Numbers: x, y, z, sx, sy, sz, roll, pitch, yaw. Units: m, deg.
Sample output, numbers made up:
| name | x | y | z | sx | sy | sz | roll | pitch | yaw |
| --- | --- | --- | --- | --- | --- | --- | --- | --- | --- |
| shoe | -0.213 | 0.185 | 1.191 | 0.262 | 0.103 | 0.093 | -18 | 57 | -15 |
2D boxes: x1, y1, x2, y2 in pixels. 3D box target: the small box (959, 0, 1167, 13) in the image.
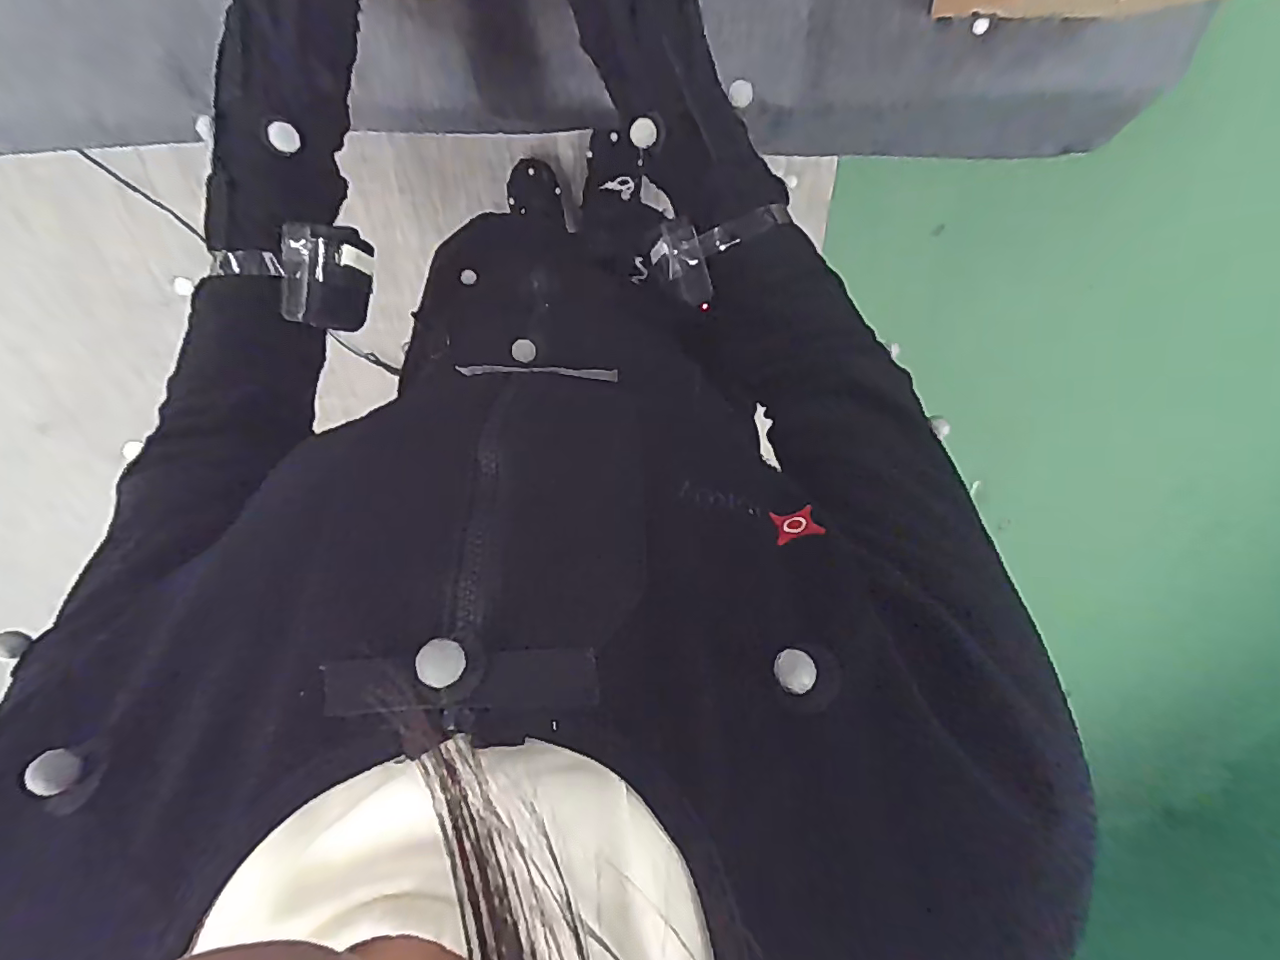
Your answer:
| name | x | y | z | sx | sy | sz | roll | pitch | yaw |
| --- | --- | --- | --- | --- | --- | --- | --- | --- | --- |
| small box | 0.341 | -0.436 | 0.362 | 0.168 | 0.176 | 0.179 | -3 | 124 | -4 |
